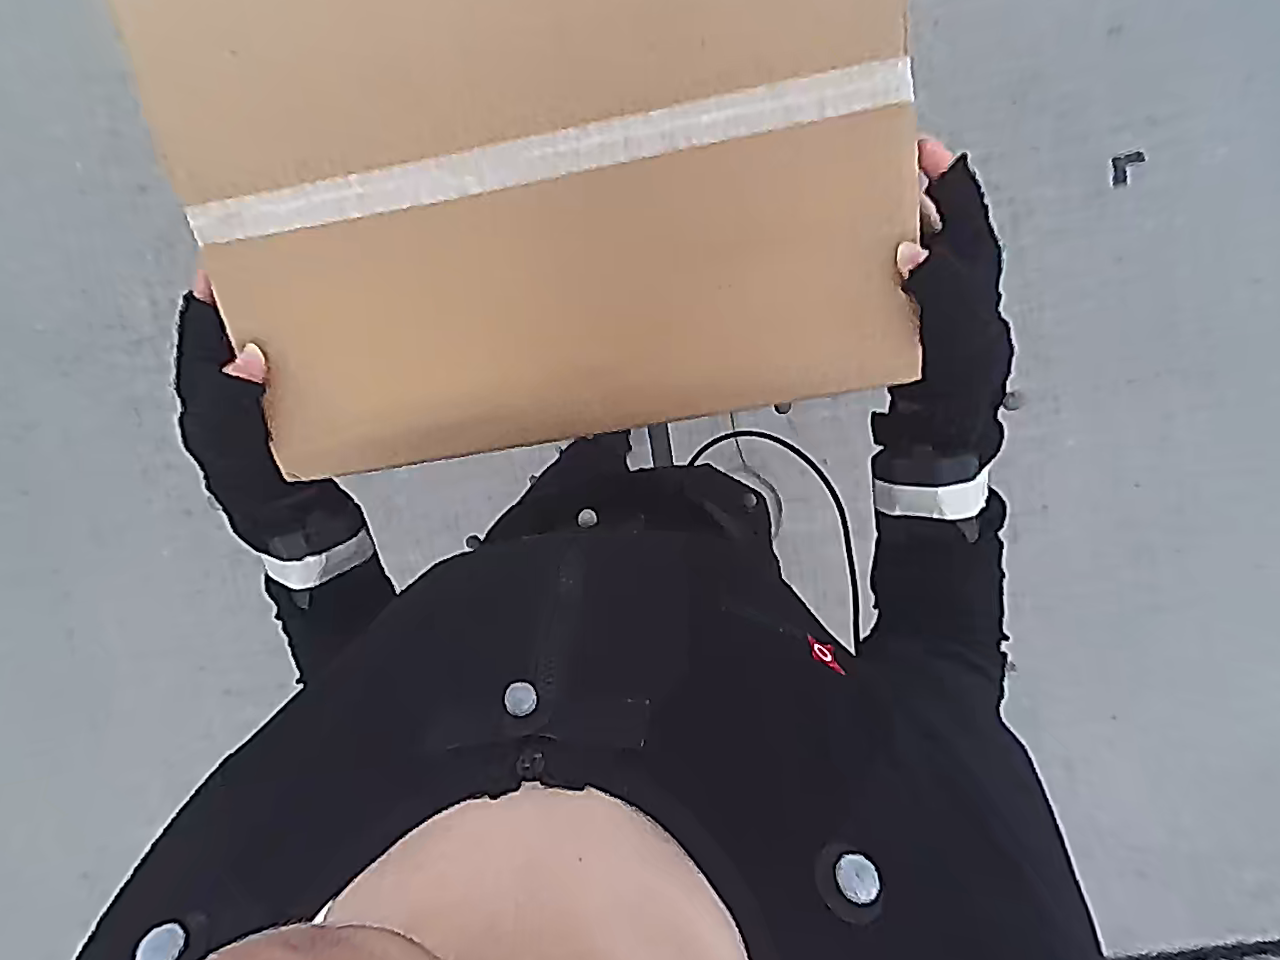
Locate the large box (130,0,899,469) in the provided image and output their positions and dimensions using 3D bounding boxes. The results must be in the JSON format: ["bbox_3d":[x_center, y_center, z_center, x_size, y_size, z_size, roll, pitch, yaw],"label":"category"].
[{"bbox_3d":[-0.055,-0.225,0.451,0.408,0.320,0.320,-9,105,5],"label":"large box"}]
